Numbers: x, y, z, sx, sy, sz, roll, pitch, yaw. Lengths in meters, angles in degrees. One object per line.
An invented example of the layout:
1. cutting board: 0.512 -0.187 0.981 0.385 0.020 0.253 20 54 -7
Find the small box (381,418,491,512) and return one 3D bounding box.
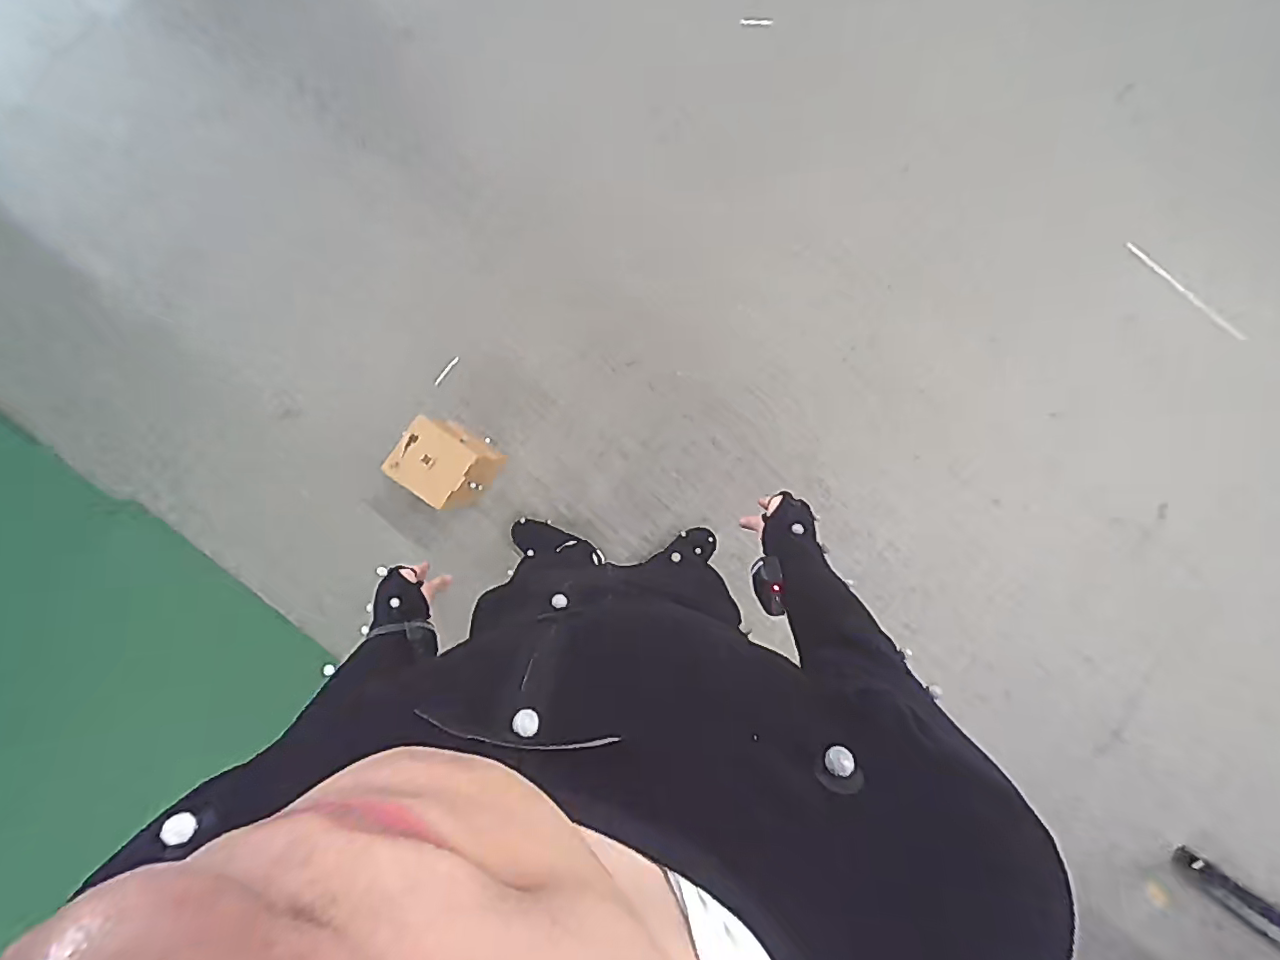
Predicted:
1. small box: -0.507 -0.039 1.374 0.179 0.176 0.168 35 89 -2

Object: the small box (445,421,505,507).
1. small box: -0.507 -0.042 1.538 0.168 0.176 0.179 38 89 -1
